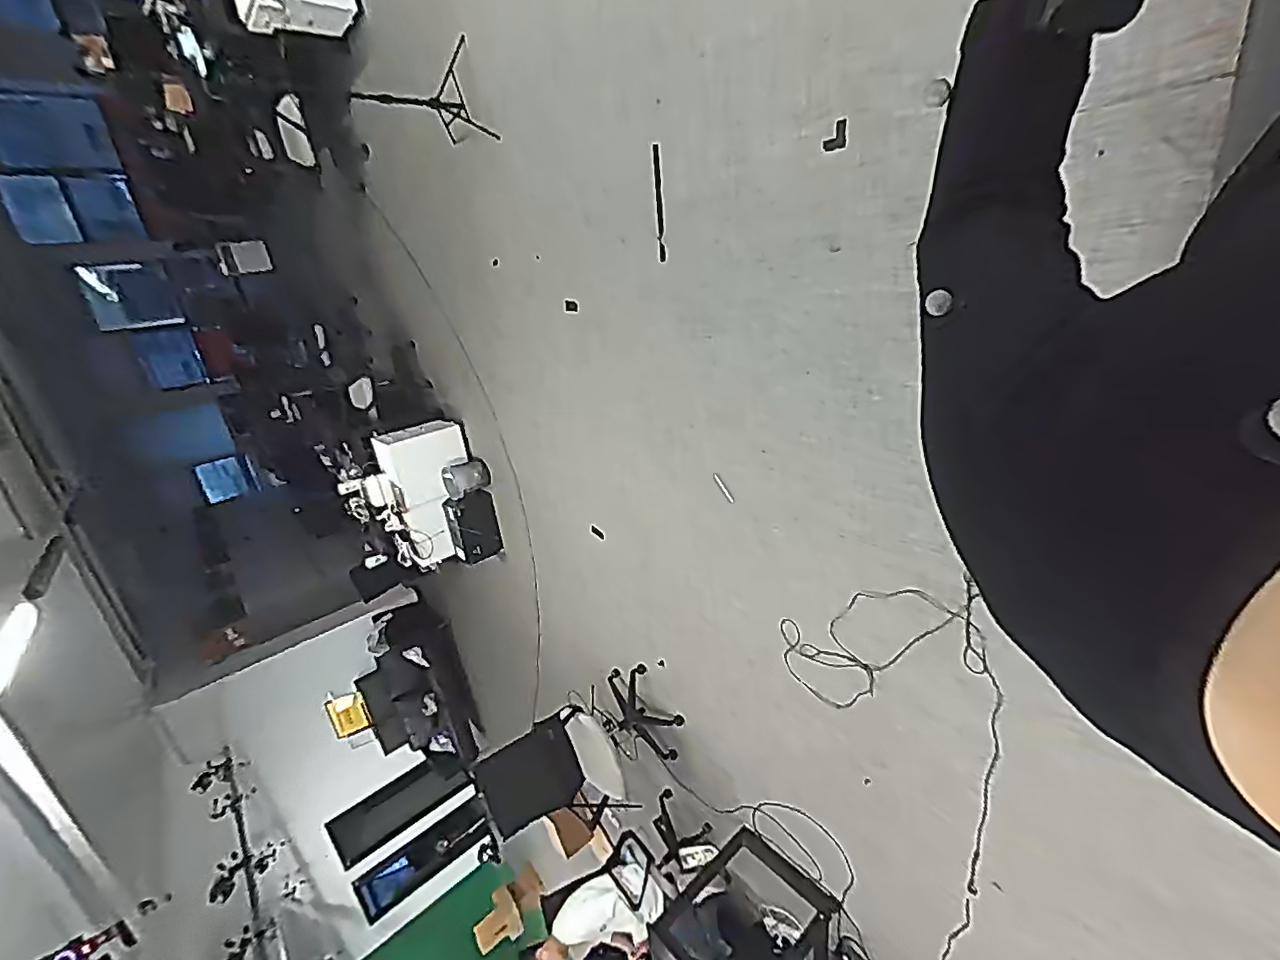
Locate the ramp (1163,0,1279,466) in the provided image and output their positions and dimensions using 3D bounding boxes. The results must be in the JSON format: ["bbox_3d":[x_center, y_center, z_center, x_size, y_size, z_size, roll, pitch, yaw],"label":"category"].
[{"bbox_3d":[1.194,-0.441,0.799,0.509,0.206,0.991,14,120,47],"label":"ramp"}]
